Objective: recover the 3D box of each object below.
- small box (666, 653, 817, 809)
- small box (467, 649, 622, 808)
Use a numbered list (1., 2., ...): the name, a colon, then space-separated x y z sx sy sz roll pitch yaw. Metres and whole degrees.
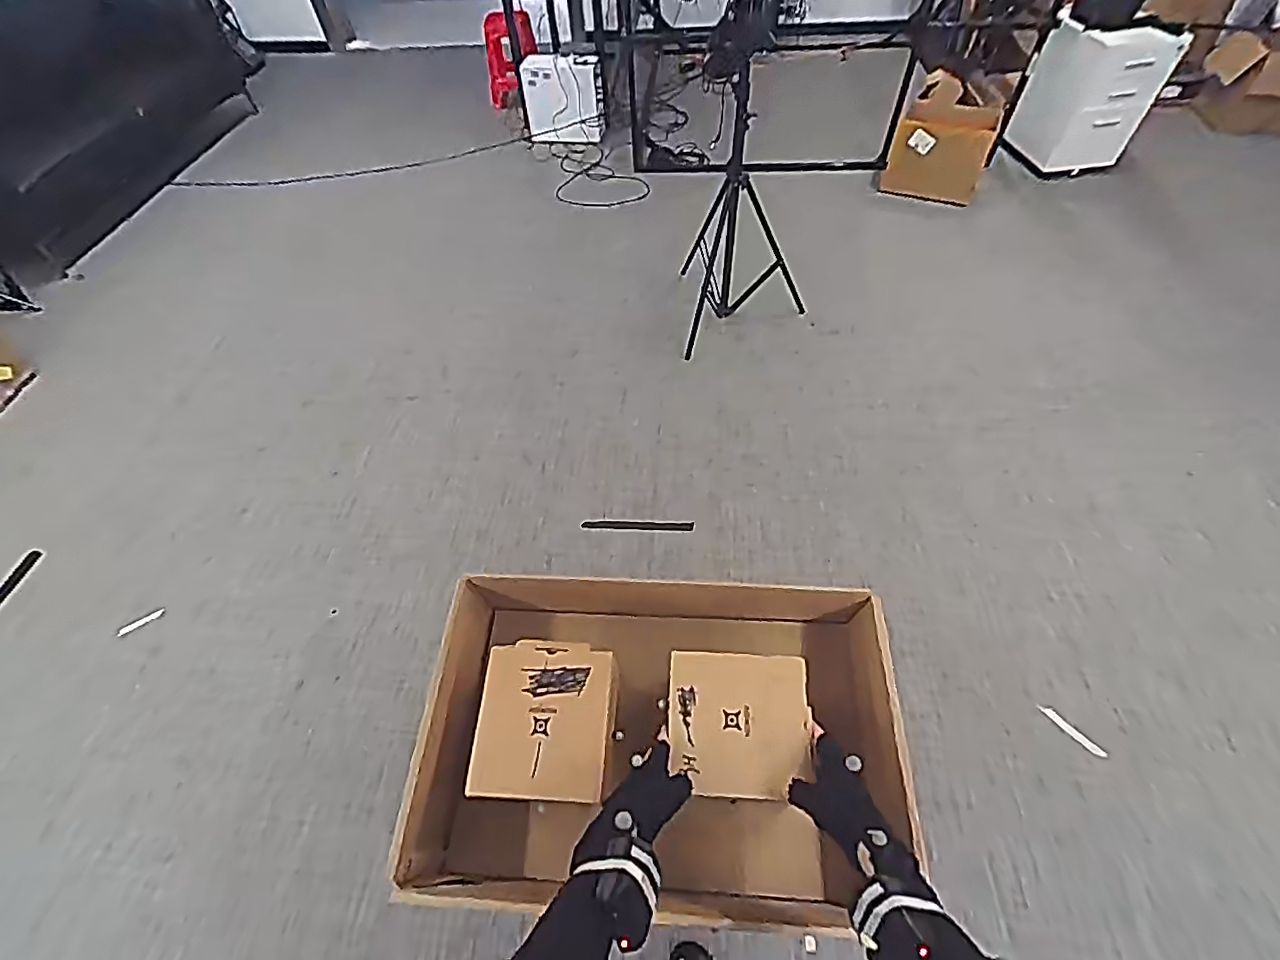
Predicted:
1. small box: 0.127 0.342 0.732 0.179 0.176 0.168 1 58 5
2. small box: -0.116 0.344 0.744 0.168 0.176 0.179 1 60 4
